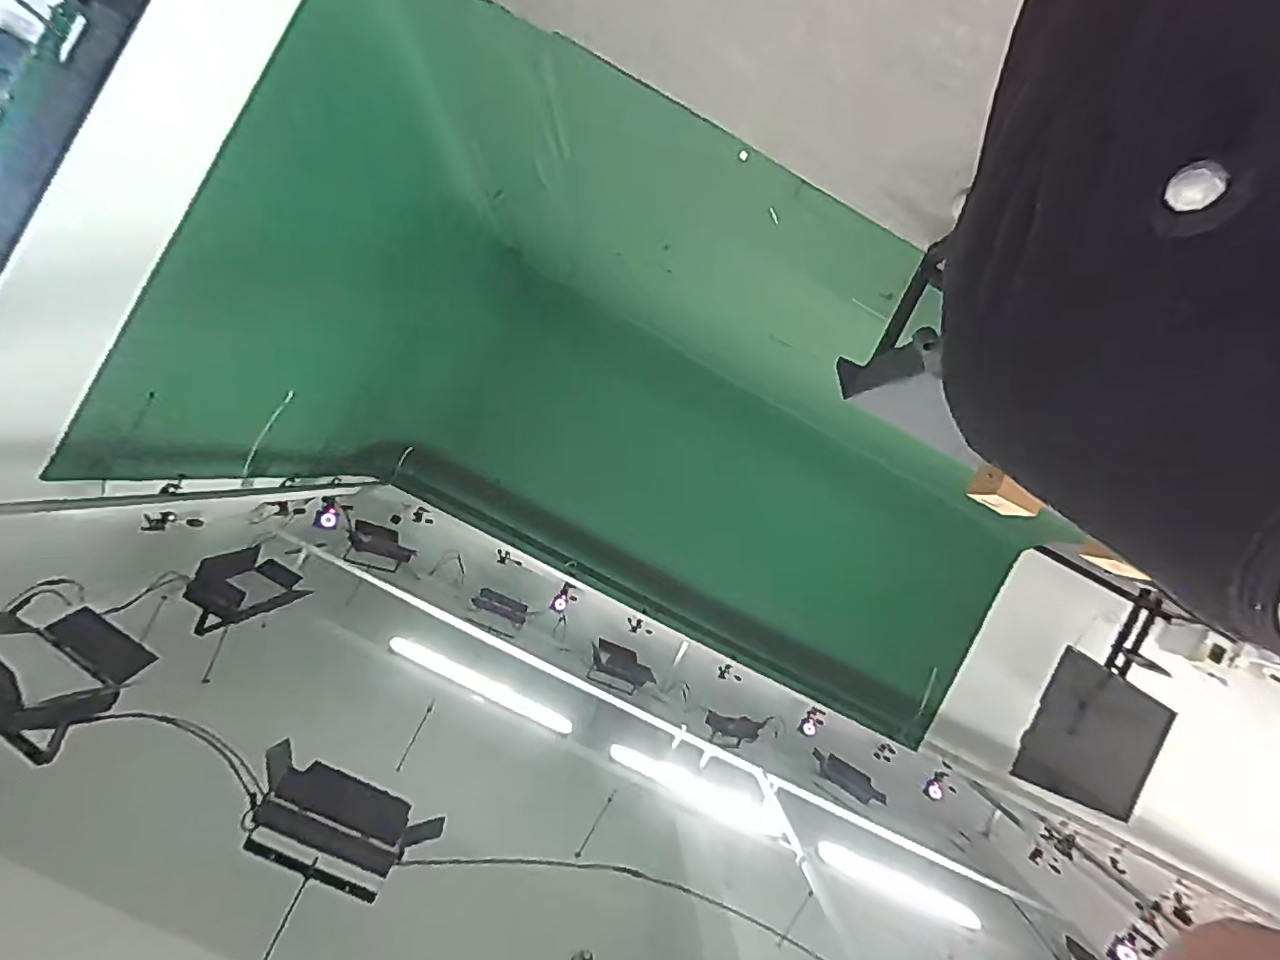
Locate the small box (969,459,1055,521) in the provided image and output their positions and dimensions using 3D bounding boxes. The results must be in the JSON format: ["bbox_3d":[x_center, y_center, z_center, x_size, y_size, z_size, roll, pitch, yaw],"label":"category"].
[{"bbox_3d":[1.372,0.034,1.994,0.168,0.176,0.179,29,178,-1],"label":"small box"}]

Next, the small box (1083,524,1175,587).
[{"bbox_3d":[1.811,0.273,1.998,0.168,0.176,0.179,29,179,1],"label":"small box"}]
